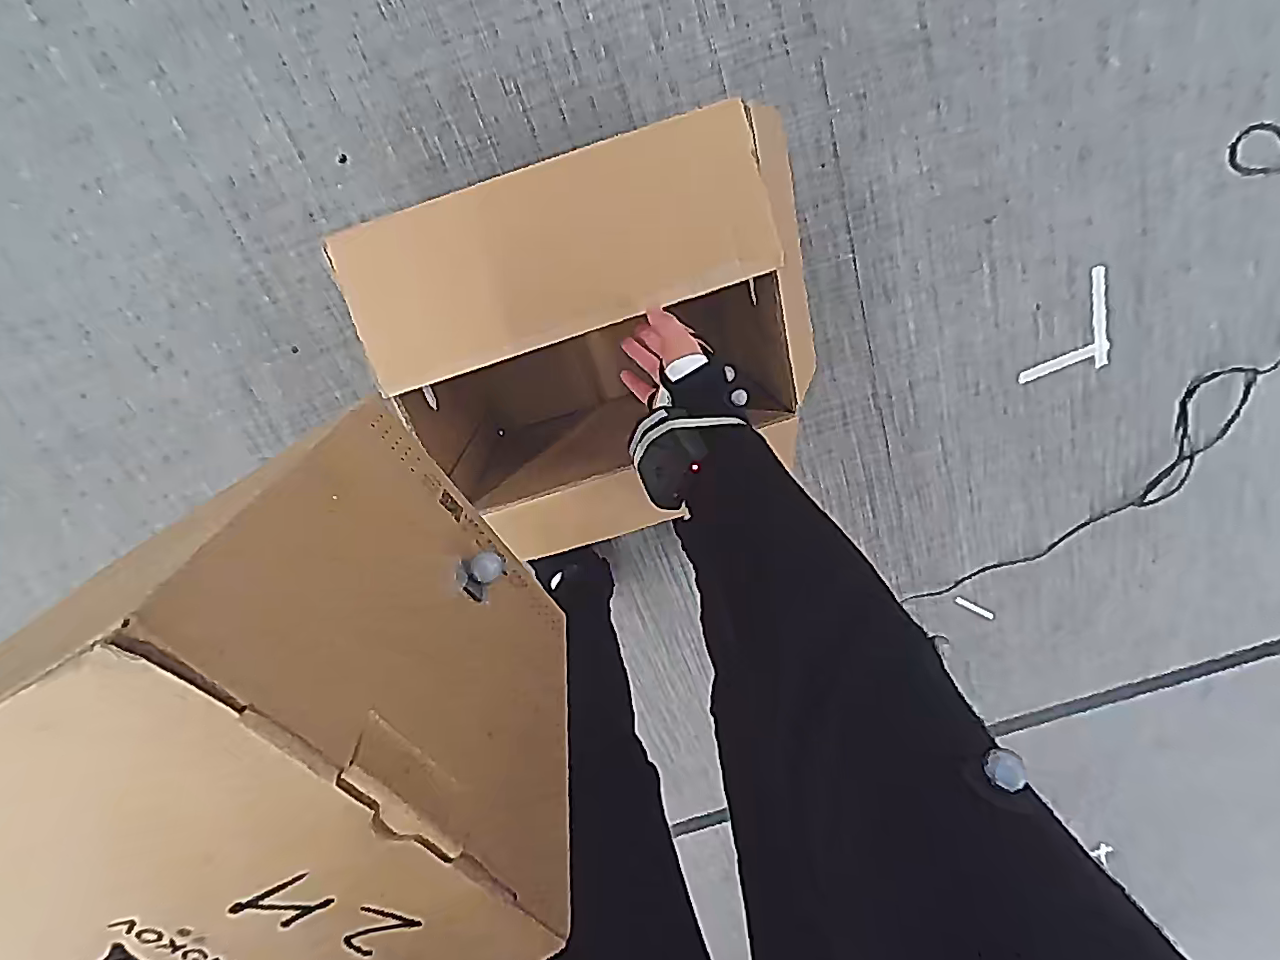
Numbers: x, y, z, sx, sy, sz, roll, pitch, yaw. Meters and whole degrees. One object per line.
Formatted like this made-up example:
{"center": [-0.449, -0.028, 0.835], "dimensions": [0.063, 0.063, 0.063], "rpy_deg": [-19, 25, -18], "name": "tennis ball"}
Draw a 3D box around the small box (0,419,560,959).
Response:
{"center": [-0.148, 0.101, 0.231], "dimensions": [0.179, 0.176, 0.168], "rpy_deg": [-31, 116, 5], "name": "small box"}
